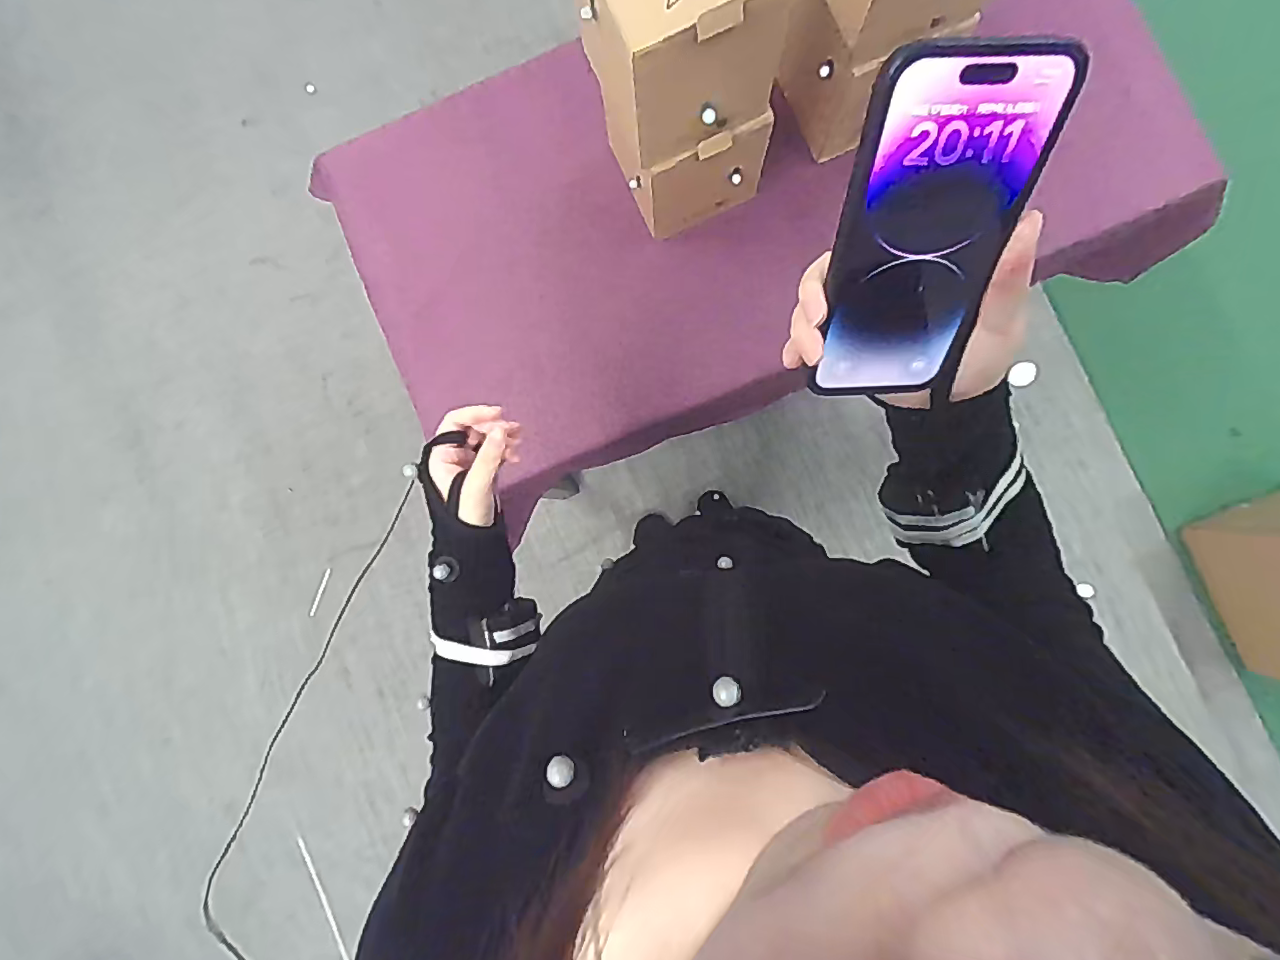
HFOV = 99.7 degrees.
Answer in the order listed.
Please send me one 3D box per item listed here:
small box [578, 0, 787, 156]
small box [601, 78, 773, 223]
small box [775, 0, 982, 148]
[{"bbox_3d":[0.033,-0.495,0.567,0.168,0.176,0.179,-25,86,2],"label":"small box"},{"bbox_3d":[0.059,-0.481,0.730,0.168,0.176,0.179,-24,86,2],"label":"small box"},{"bbox_3d":[0.297,-0.596,0.719,0.168,0.176,0.179,-24,86,3],"label":"small box"}]
